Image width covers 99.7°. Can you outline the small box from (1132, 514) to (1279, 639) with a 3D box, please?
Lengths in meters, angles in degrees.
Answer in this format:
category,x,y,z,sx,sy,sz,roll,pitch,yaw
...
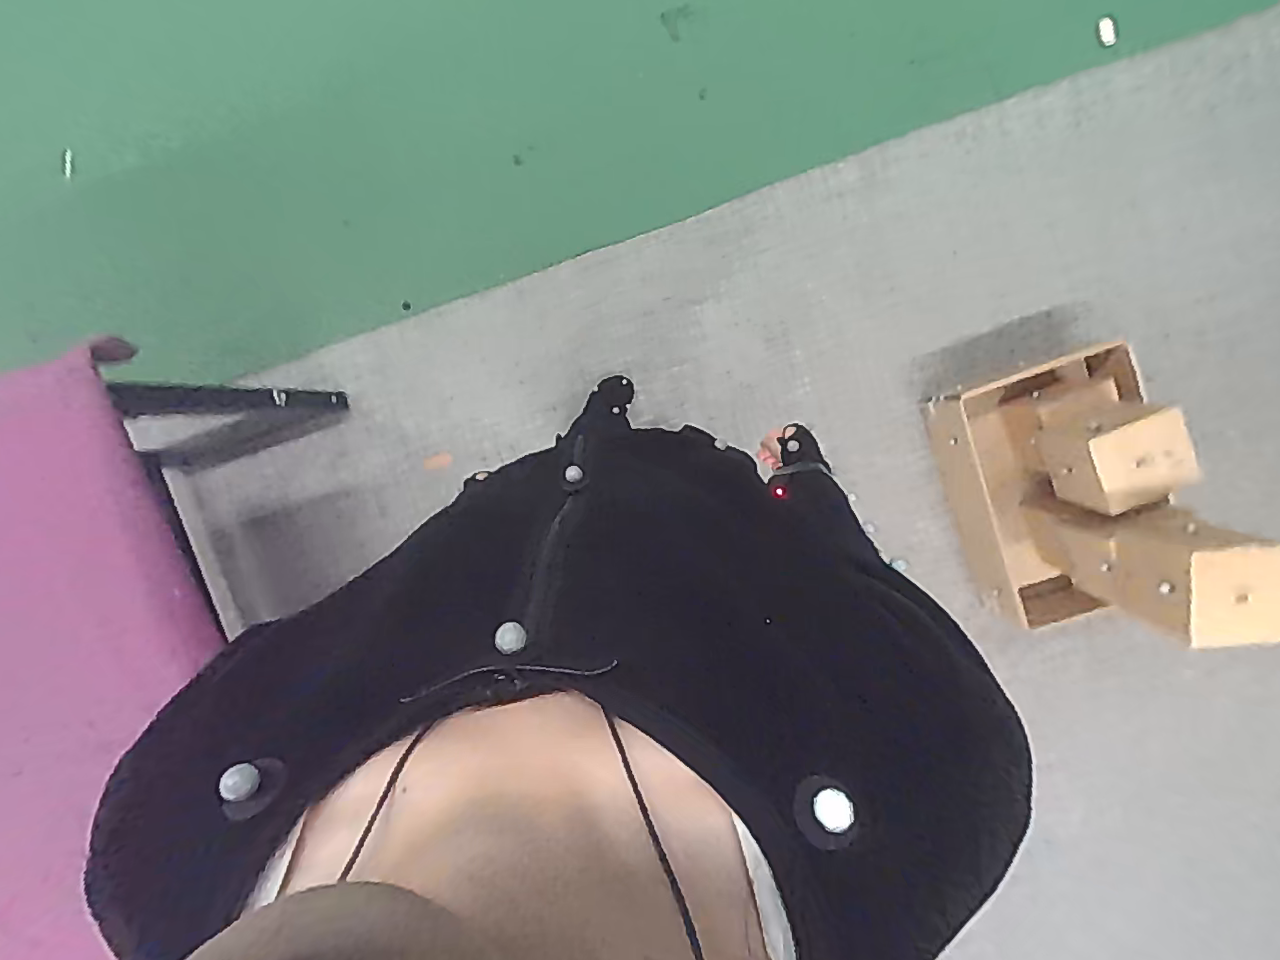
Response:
category,x,y,z,sx,sy,sz,roll,pitch,yaw
small box,1.054,0.170,0.991,0.168,0.176,0.179,-7,96,7

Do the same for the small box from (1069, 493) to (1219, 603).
category,x,y,z,sx,sy,sz,roll,pitch,yaw
small box,1.077,0.137,1.149,0.179,0.176,0.168,-22,94,8

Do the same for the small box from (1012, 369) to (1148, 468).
category,x,y,z,sx,sy,sz,roll,pitch,yaw
small box,1.026,-0.148,1.278,0.168,0.176,0.179,-23,98,9

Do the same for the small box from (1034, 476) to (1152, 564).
category,x,y,z,sx,sy,sz,roll,pitch,yaw
small box,1.109,0.100,1.309,0.168,0.176,0.179,-27,93,8
